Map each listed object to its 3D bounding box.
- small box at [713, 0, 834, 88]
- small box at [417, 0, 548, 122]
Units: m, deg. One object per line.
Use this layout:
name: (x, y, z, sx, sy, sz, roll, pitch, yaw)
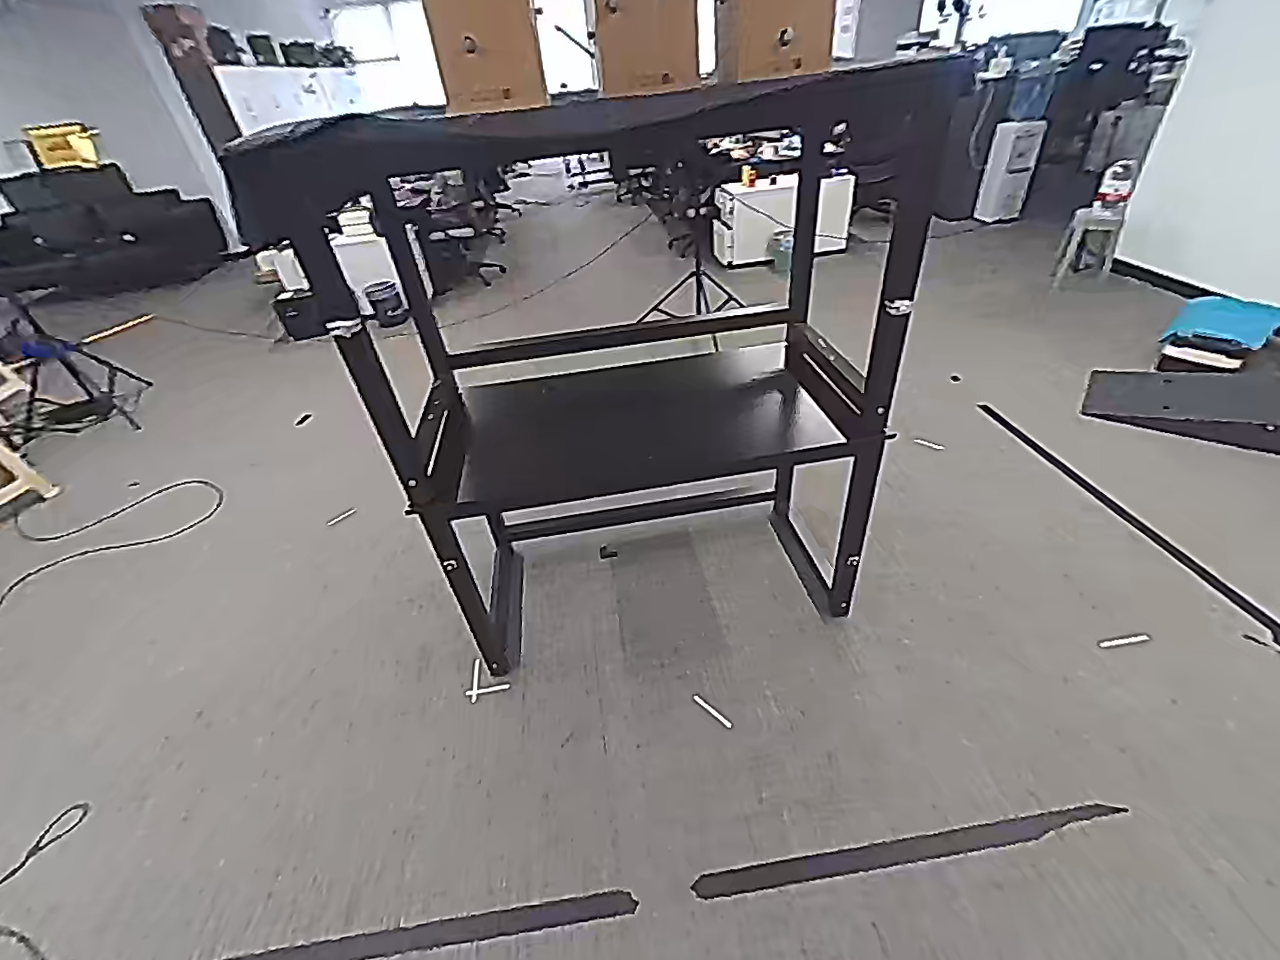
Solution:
small box: (0.222, -0.787, 0.933, 0.168, 0.176, 0.179, -9, 37, -1)
small box: (-0.255, -0.723, 0.926, 0.168, 0.176, 0.179, -7, 36, -1)
